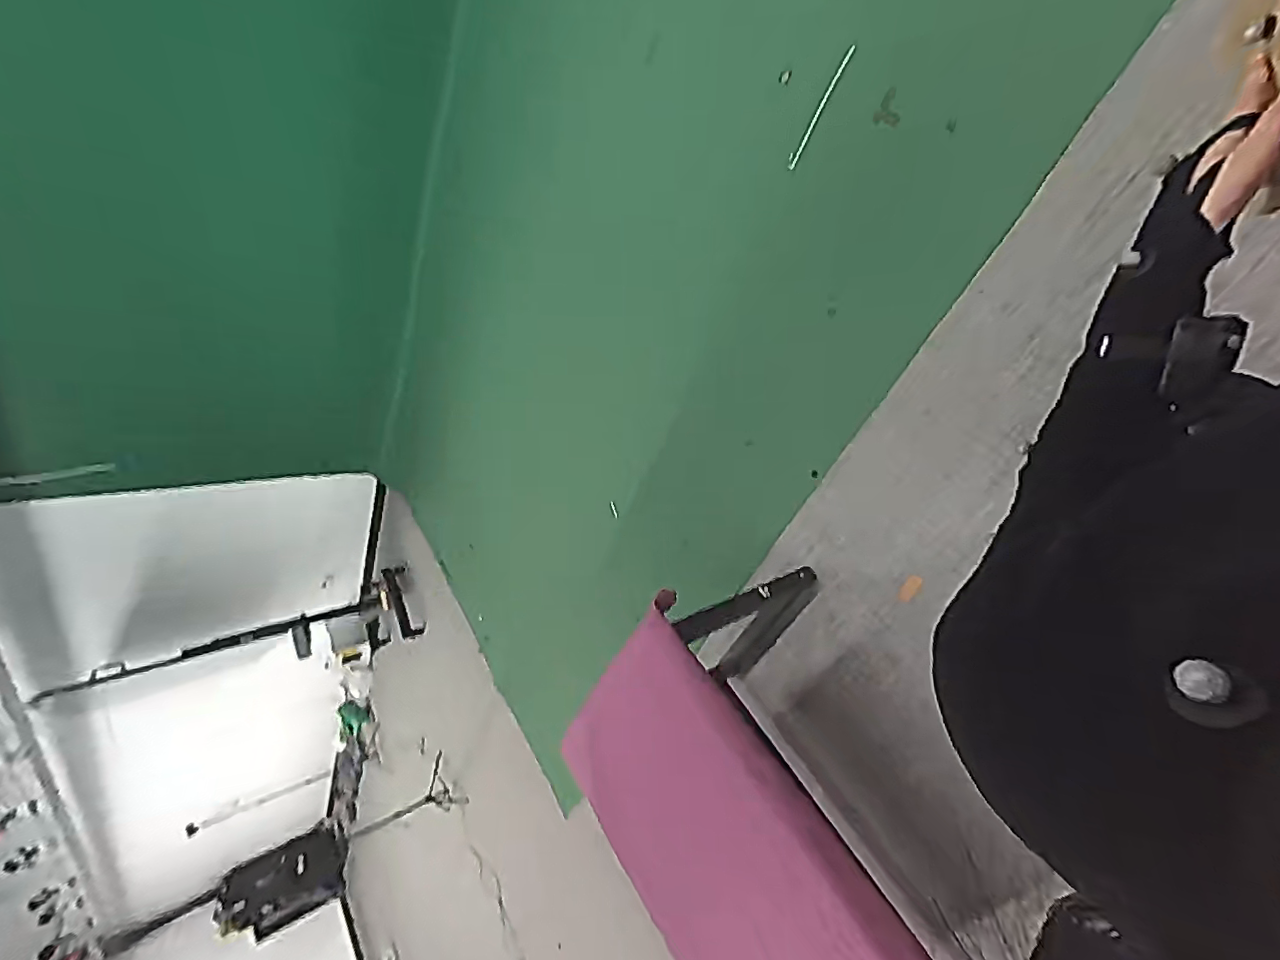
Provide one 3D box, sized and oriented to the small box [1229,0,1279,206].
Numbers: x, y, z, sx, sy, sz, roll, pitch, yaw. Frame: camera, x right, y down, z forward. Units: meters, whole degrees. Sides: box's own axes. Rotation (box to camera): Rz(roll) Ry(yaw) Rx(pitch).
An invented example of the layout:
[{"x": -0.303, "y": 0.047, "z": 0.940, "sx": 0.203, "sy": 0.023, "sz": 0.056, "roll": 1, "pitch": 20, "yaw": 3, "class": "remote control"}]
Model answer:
[{"x": 0.530, "y": -0.309, "z": 0.347, "sx": 0.179, "sy": 0.176, "sz": 0.168, "roll": -9, "pitch": 91, "yaw": 41, "class": "small box"}]
